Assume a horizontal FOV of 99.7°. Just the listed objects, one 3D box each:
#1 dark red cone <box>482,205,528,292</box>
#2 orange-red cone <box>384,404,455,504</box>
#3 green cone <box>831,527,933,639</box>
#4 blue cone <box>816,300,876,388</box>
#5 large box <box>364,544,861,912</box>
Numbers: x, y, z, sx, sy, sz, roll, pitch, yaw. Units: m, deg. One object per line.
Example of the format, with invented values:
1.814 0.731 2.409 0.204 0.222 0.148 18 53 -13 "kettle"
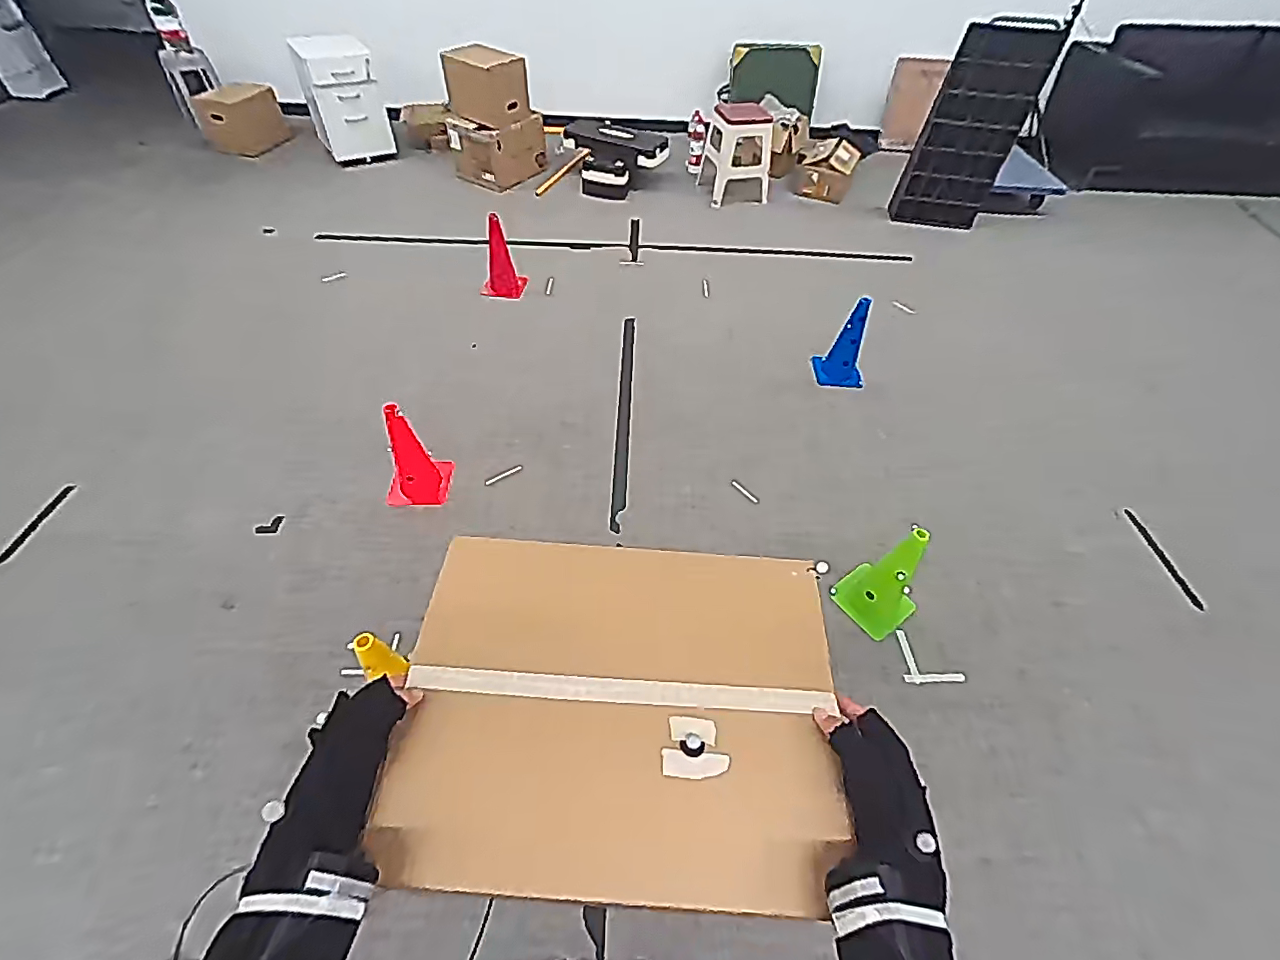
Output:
-0.663 -1.104 2.581 0.201 0.394 0.202 7 50 2 "dark red cone"
-0.752 -0.102 1.756 0.198 0.360 0.199 0 51 -2 "orange-red cone"
0.725 0.256 1.528 0.202 0.368 0.200 -28 57 -26 "green cone"
0.893 -0.581 2.271 0.192 0.380 0.193 5 50 0 "blue cone"
-0.022 0.297 0.632 0.408 0.320 0.320 5 52 0 "large box"
